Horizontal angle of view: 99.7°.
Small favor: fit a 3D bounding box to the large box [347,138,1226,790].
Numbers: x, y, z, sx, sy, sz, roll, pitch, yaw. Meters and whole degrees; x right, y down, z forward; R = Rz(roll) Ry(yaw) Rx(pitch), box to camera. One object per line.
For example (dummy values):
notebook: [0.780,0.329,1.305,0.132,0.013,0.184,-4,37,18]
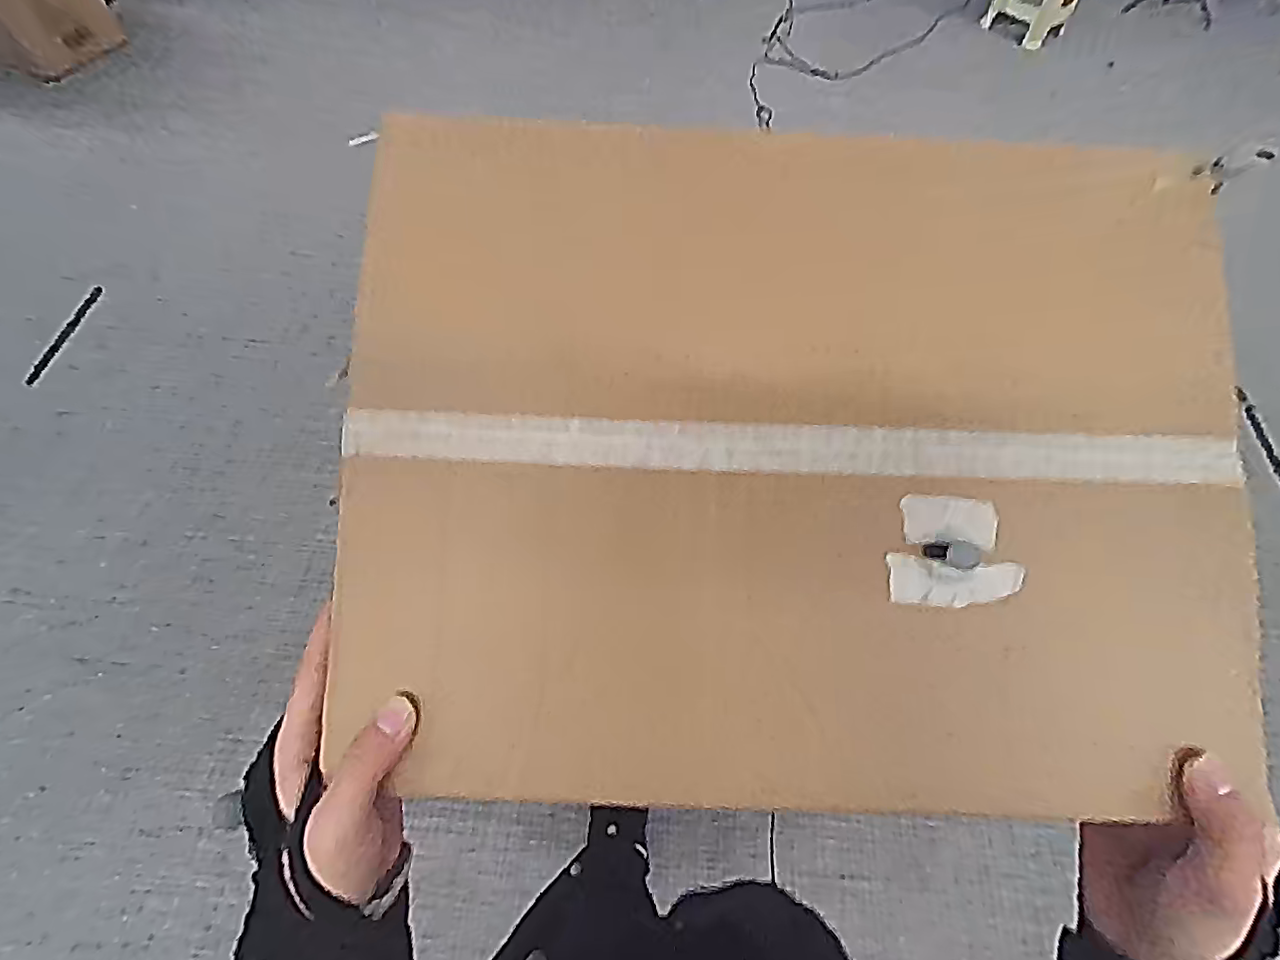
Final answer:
large box: [0.066,0.001,0.404,0.408,0.320,0.320,2,85,-1]
